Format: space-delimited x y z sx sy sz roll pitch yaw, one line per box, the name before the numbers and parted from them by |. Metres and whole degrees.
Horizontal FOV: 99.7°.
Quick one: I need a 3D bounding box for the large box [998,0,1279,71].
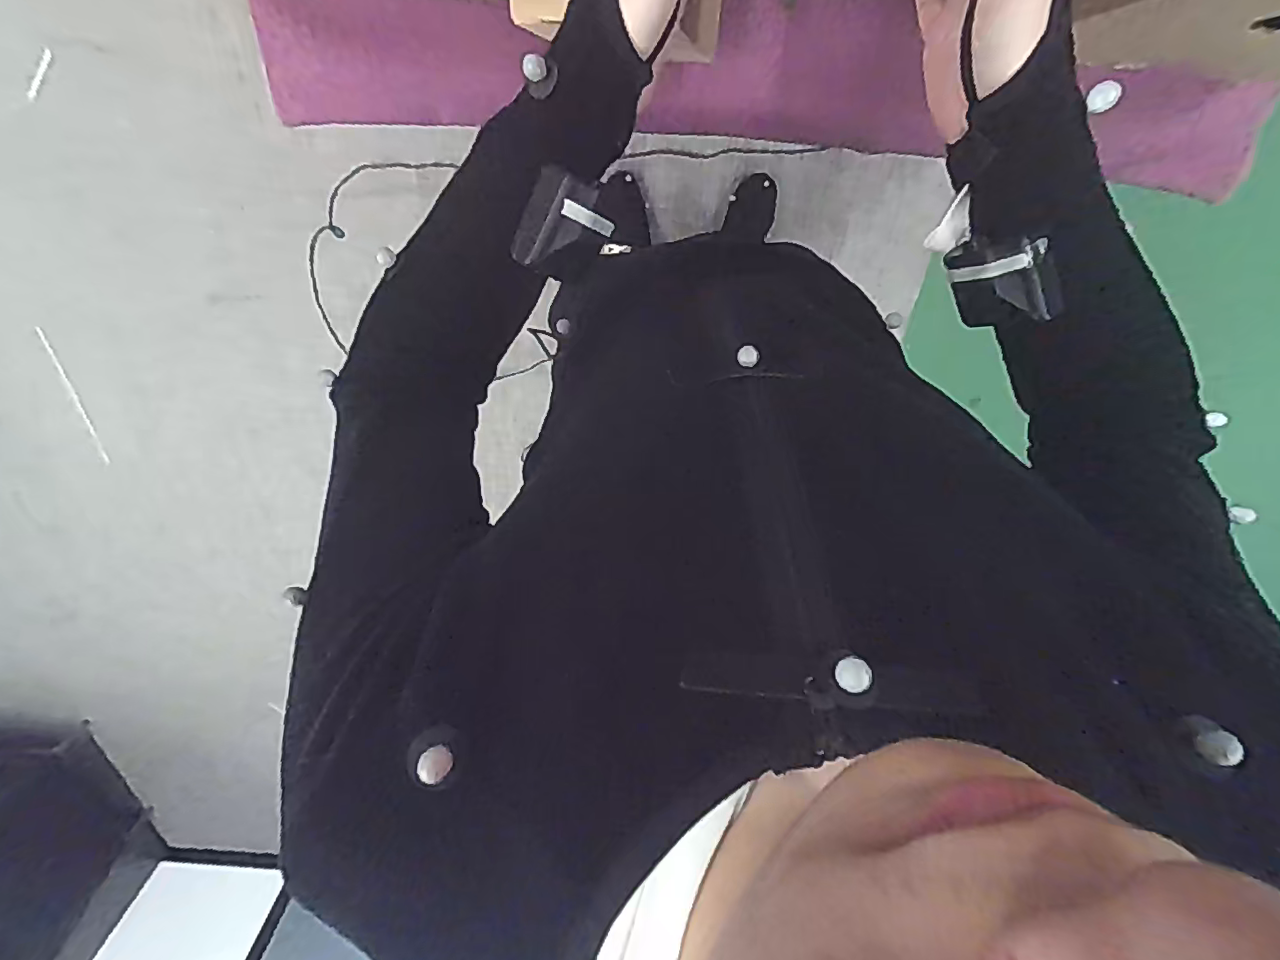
large box | 0.566 -0.577 0.396 0.320 0.320 0.408 5 122 0
